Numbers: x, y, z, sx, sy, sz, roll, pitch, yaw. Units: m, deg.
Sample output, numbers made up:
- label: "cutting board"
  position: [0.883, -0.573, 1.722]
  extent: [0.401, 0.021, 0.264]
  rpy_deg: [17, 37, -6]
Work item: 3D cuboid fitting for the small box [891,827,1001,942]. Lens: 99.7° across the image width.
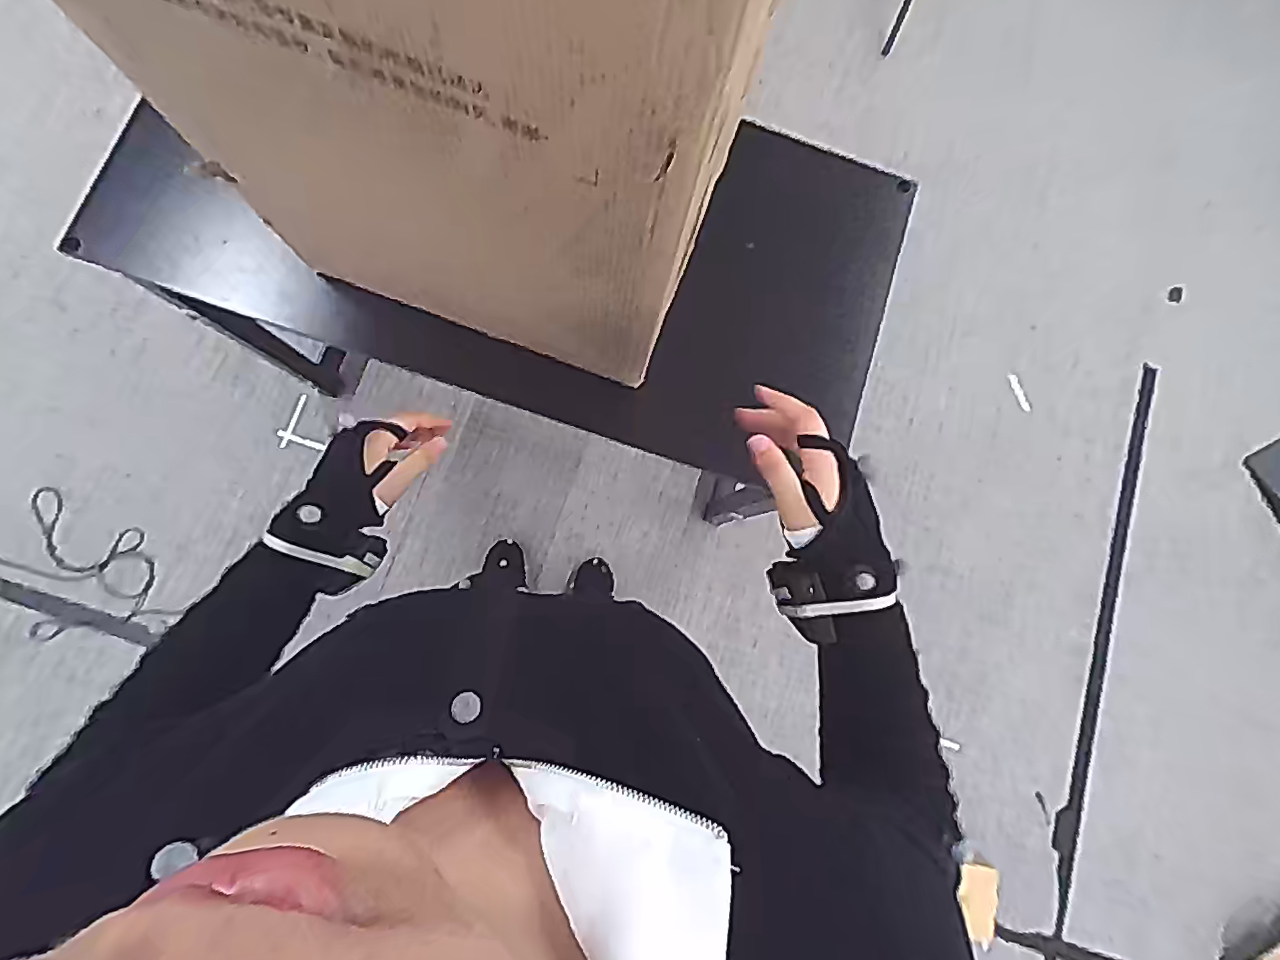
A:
- label: "small box"
  position: [0.785, 1.033, 1.396]
  extent: [0.179, 0.176, 0.168]
  rpy_deg: [13, 80, -2]
